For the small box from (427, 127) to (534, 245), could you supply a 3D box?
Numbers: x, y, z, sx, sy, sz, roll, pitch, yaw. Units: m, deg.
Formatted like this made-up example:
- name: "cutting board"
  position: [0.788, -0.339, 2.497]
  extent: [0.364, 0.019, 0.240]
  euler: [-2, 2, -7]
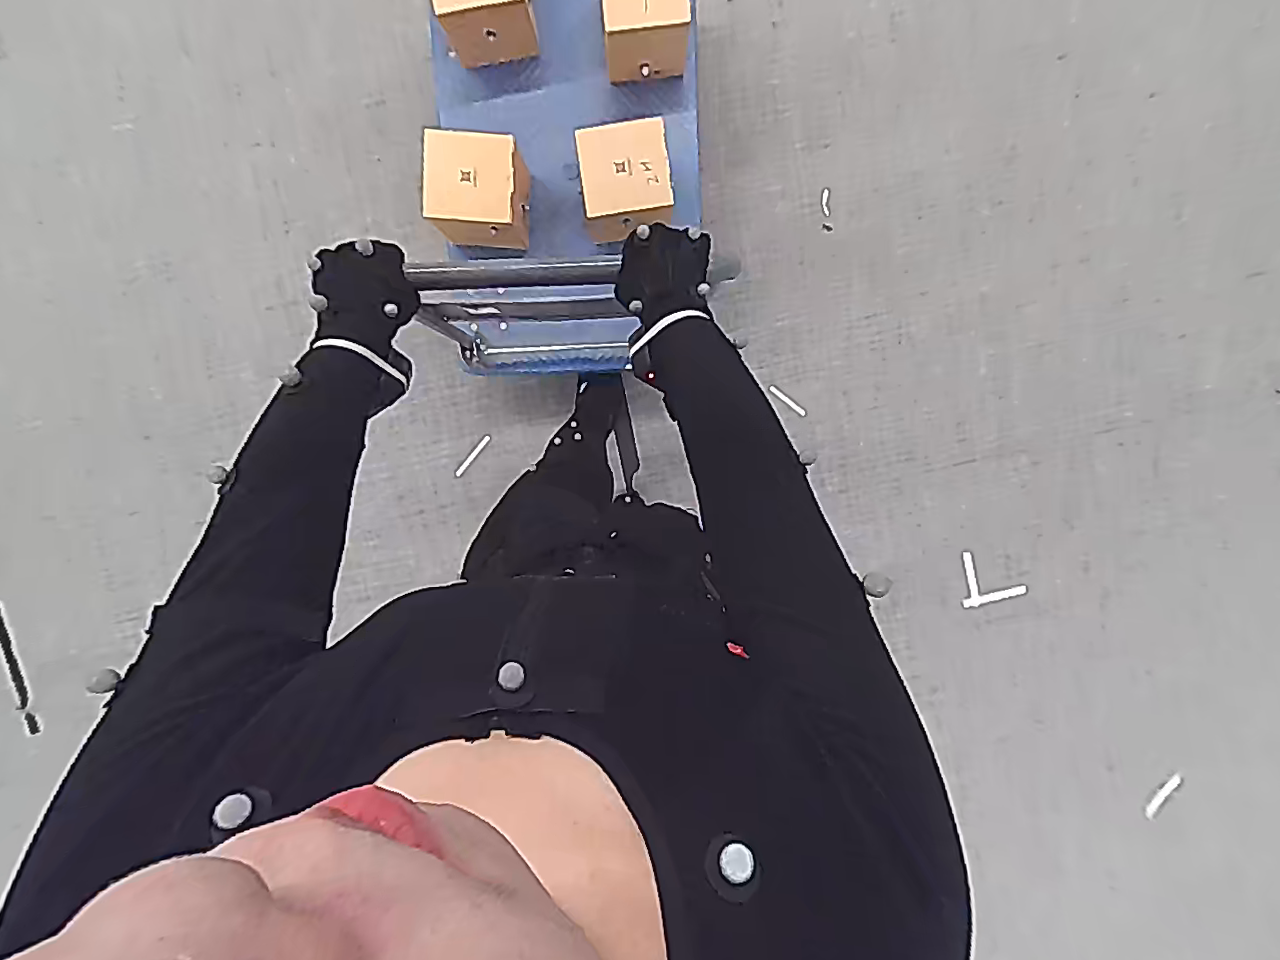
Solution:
- name: "small box"
  position: [-0.330, -0.609, 1.139]
  extent: [0.179, 0.176, 0.168]
  euler: [3, 97, -2]

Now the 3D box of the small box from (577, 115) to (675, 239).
- name: "small box"
  position: [-0.025, -0.624, 1.135]
  extent: [0.179, 0.176, 0.168]
  euler: [-8, 97, 1]

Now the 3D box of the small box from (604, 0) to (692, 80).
- name: "small box"
  position: [0.011, -0.958, 1.093]
  extent: [0.168, 0.176, 0.179]
  euler: [-6, 98, 1]
